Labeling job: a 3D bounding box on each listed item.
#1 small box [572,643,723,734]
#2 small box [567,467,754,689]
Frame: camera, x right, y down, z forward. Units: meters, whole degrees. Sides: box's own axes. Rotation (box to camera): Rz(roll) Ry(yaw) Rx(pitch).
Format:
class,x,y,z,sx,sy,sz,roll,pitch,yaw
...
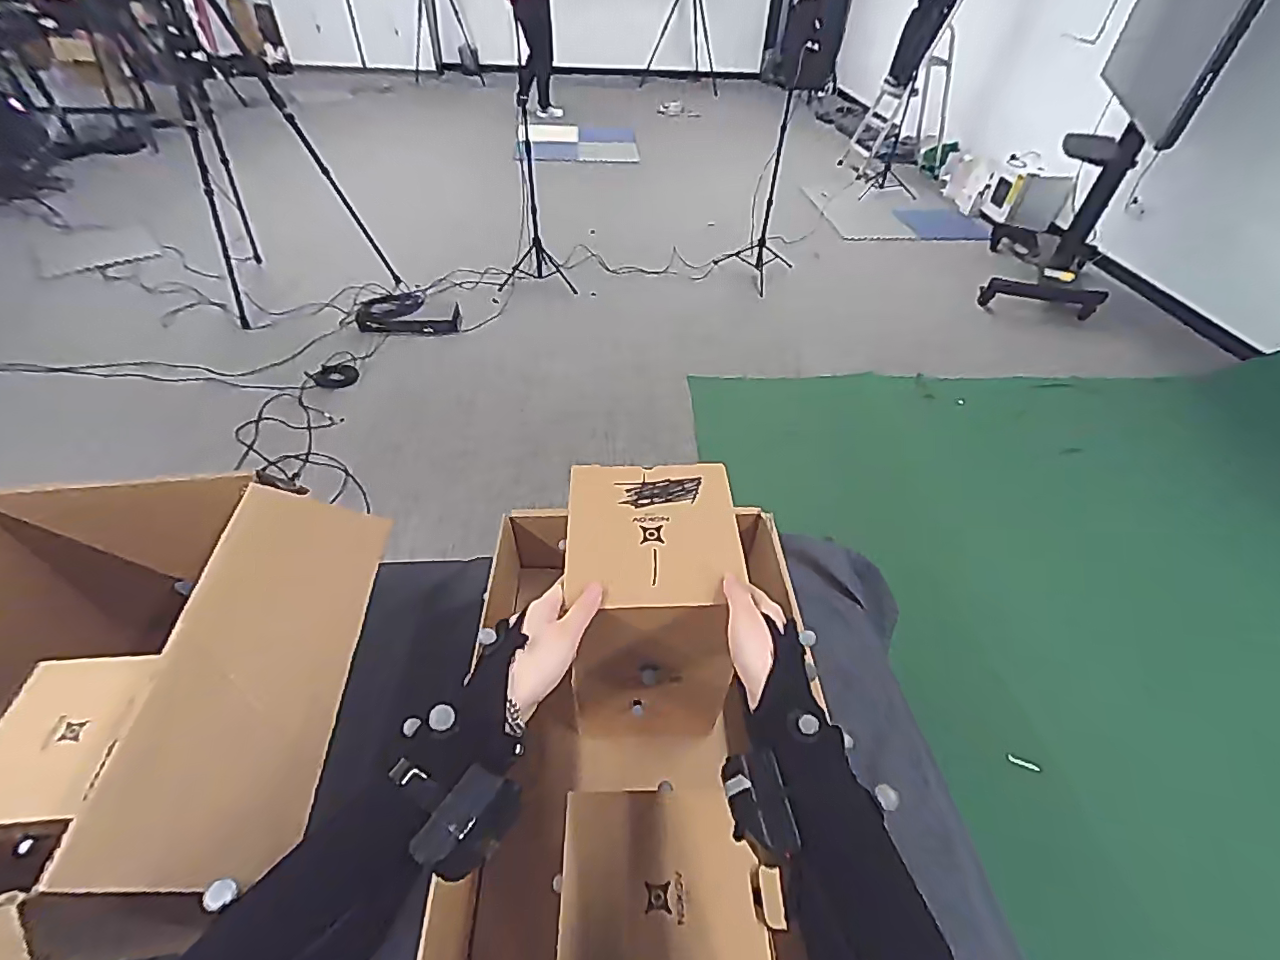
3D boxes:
class,x,y,z,sx,sy,sz,roll,pitch,yaw
small box,0.011,0.217,0.700,0.179,0.176,0.168,-1,47,-1
small box,0.015,0.104,0.578,0.168,0.176,0.179,-1,47,-2
